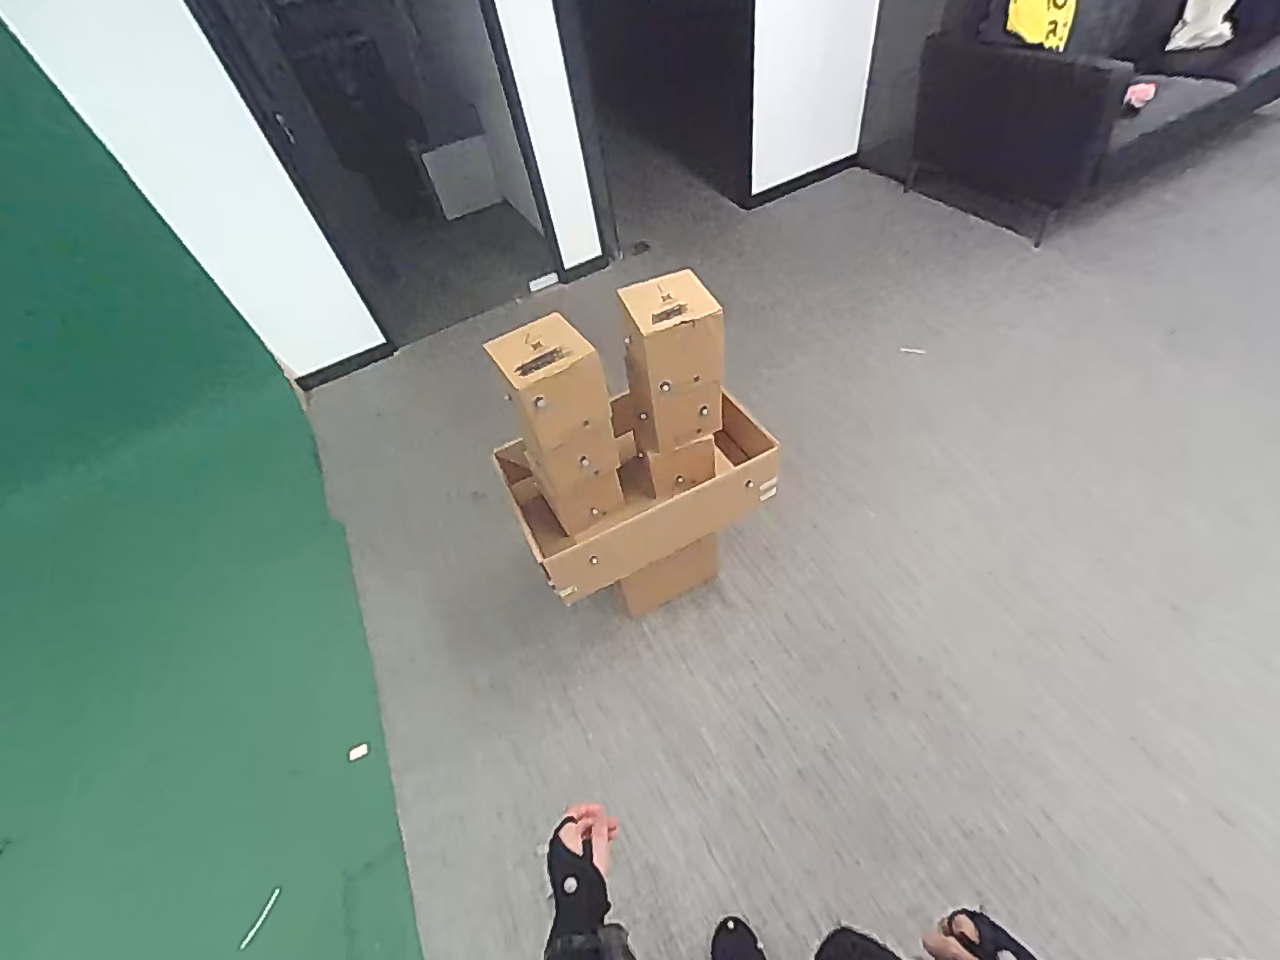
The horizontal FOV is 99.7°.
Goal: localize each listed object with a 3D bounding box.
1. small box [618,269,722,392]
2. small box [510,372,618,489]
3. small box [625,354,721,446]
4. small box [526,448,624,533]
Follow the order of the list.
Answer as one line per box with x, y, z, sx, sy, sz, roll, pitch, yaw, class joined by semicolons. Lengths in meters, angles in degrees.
0.065;-0.304;1.125;0.168;0.176;0.179;-18;50;-7;small box
-0.164;-0.102;1.206;0.168;0.176;0.179;-27;52;-14;small box
0.080;-0.200;1.251;0.168;0.176;0.179;-20;50;-9;small box
-0.158;-0.003;1.338;0.168;0.176;0.179;-28;52;-13;small box
